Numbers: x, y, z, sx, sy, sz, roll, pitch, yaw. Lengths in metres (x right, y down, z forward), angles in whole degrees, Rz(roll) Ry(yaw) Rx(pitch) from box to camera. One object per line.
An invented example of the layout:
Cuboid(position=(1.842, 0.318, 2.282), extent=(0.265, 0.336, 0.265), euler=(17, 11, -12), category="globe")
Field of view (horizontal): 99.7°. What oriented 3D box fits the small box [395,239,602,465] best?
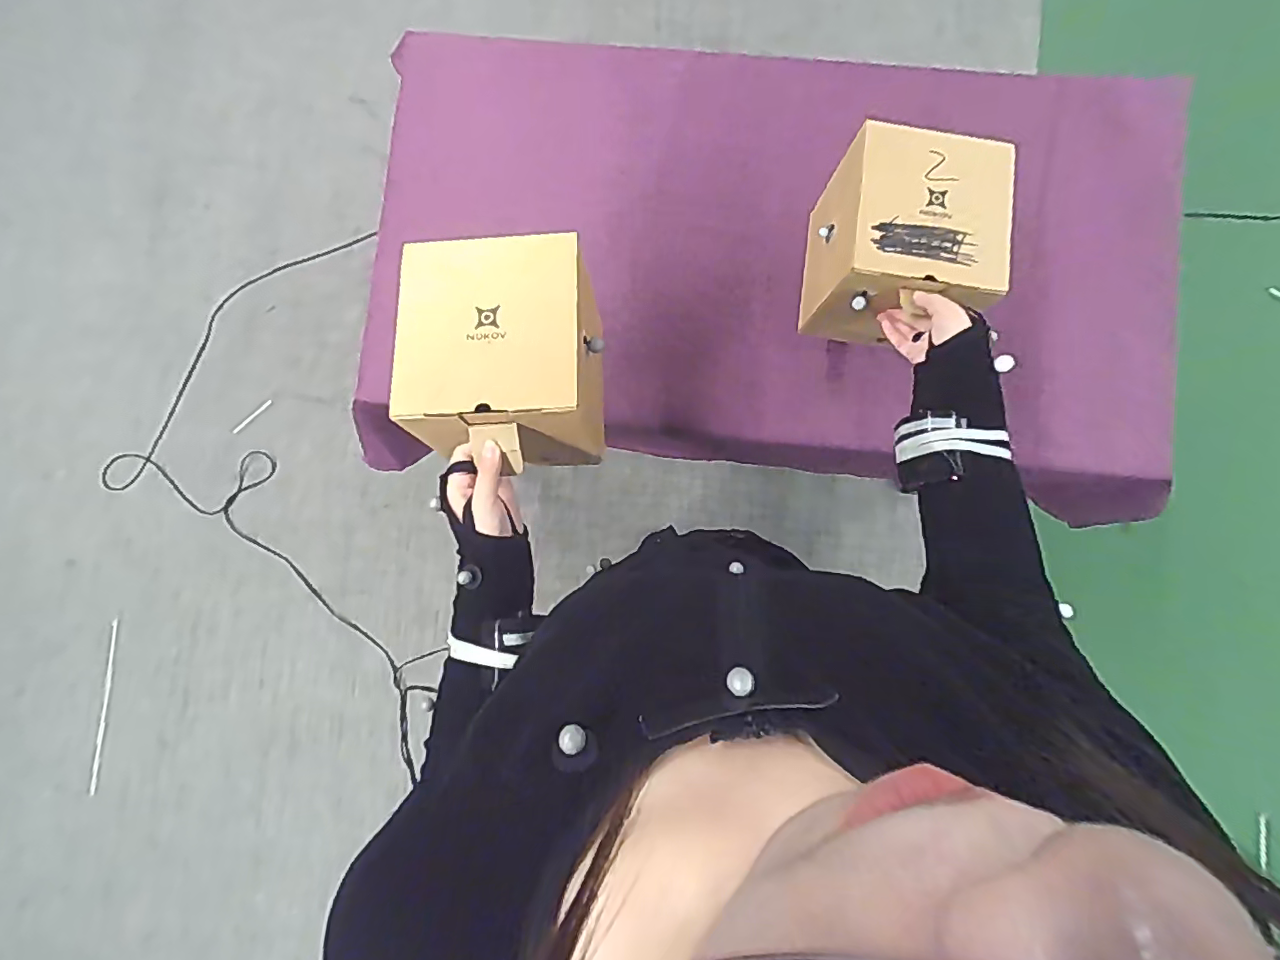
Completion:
Cuboid(position=(-0.134, -0.124, 0.573), extent=(0.168, 0.176, 0.179), euler=(-3, 77, 3), category="small box")
